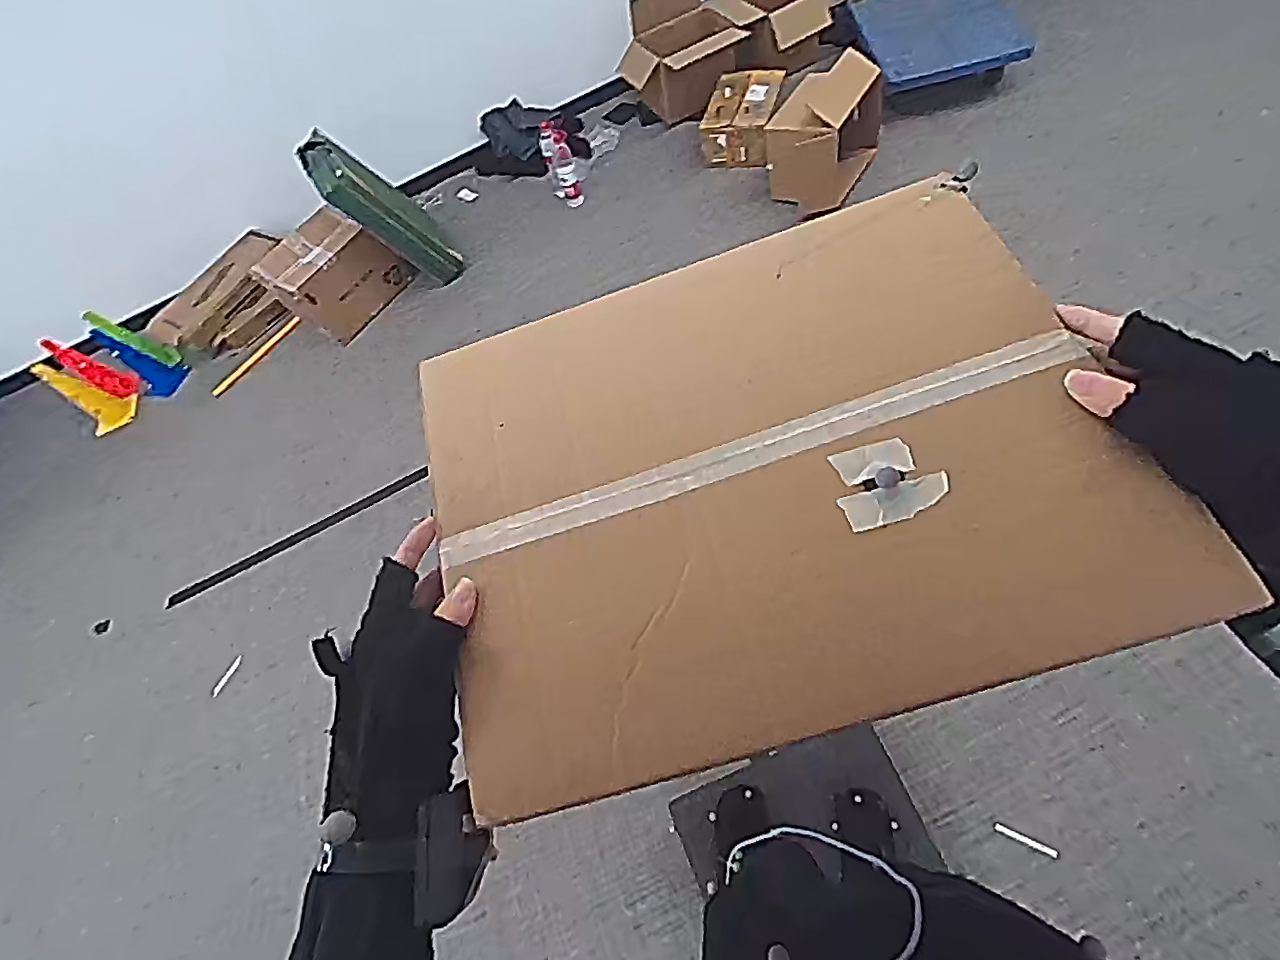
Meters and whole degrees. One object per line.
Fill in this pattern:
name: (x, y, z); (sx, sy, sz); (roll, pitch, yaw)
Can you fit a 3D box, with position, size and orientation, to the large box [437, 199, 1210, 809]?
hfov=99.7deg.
large box: (0.094, 0.044, 0.483); (0.408, 0.320, 0.320); (-18, 67, 4)
